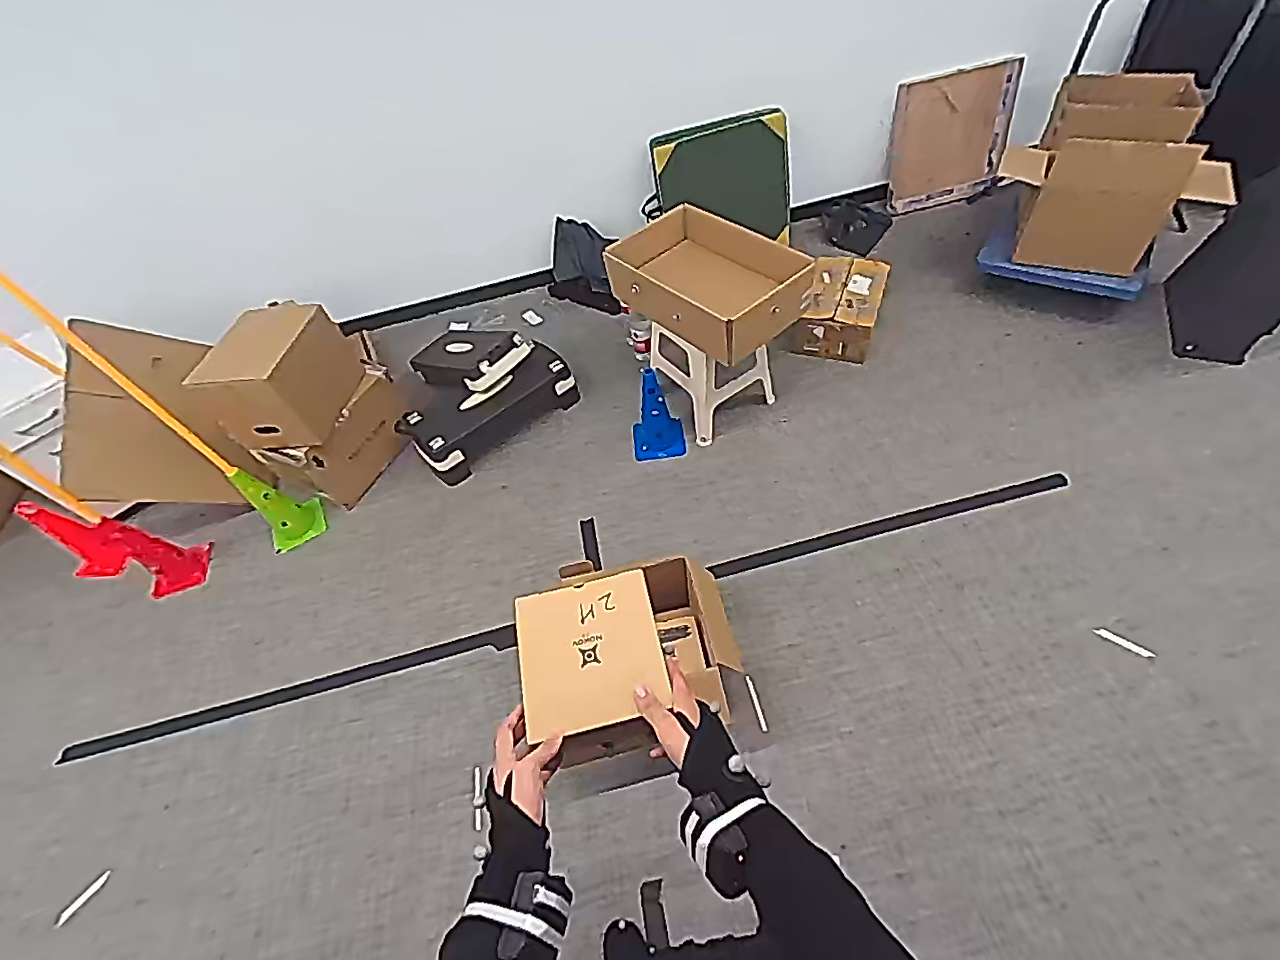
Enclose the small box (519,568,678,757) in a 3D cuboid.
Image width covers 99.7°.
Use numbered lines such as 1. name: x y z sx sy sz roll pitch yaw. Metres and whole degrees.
1. small box: -0.049 0.240 0.692 0.168 0.176 0.179 -12 54 -3
